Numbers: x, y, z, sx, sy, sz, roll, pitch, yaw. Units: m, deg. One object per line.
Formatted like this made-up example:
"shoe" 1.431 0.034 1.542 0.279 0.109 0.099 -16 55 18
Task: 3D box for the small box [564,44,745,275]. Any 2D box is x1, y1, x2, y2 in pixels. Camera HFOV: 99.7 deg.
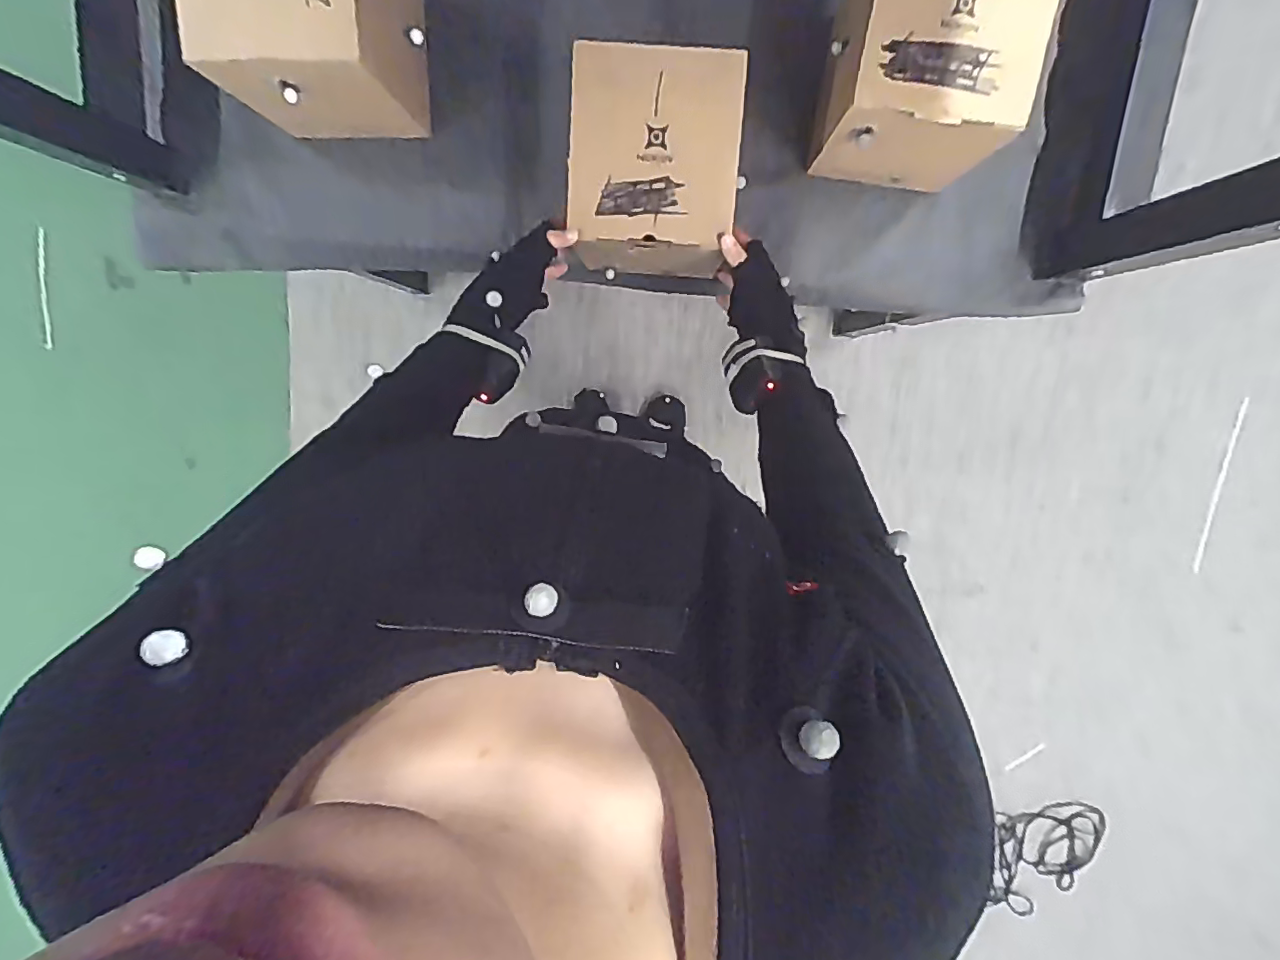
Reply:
"small box" 0.014 -0.335 0.602 0.168 0.176 0.179 4 101 0

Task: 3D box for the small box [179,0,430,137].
"small box" -0.348 -0.494 0.583 0.179 0.176 0.168 1 101 1
